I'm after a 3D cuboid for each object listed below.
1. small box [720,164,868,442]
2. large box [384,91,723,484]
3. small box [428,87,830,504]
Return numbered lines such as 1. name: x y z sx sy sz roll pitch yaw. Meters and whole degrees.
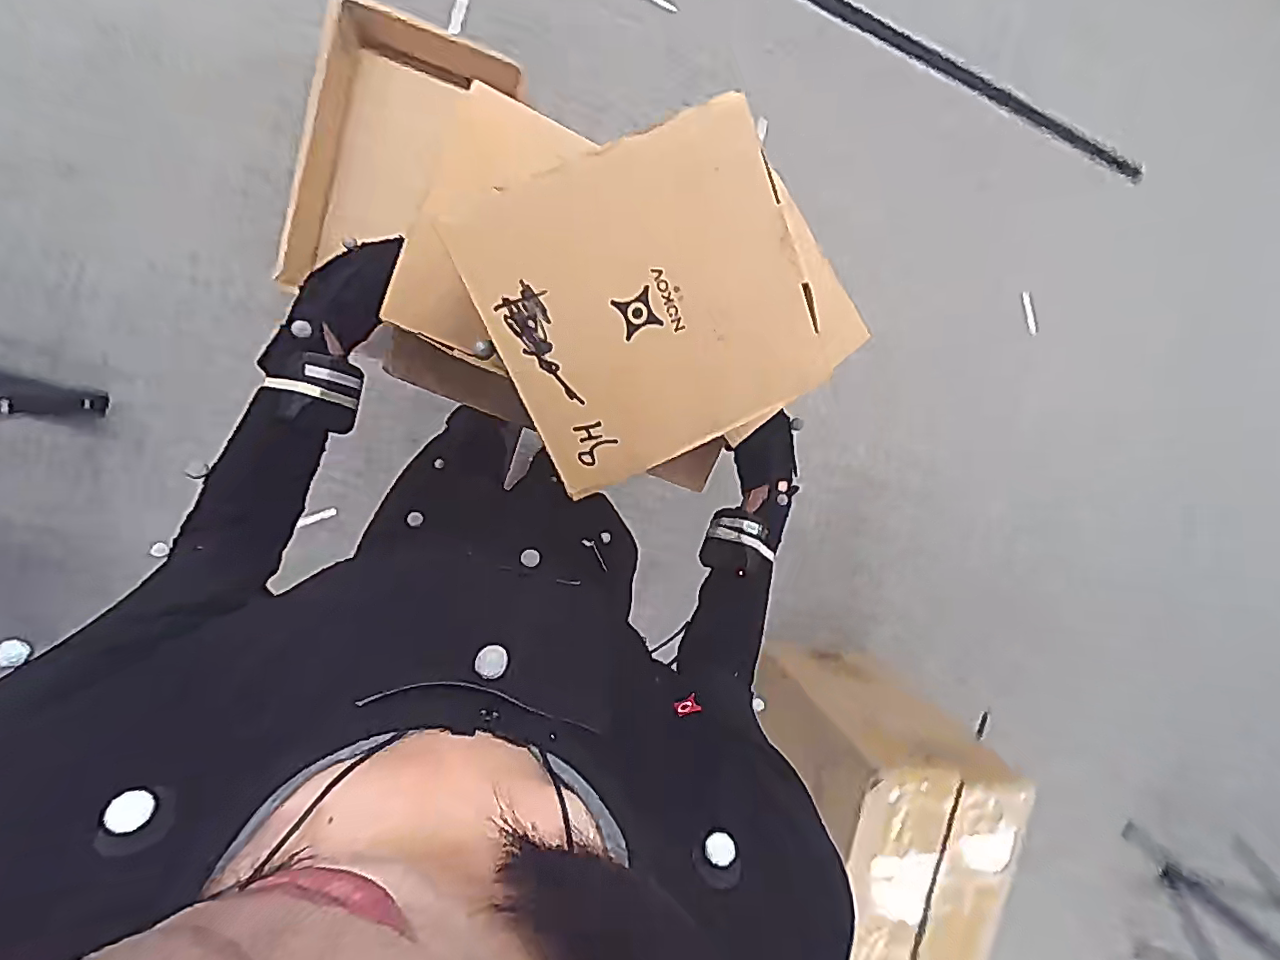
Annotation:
1. small box: 0.079 -0.163 0.540 0.168 0.176 0.179 -39 108 1
2. large box: -0.075 -0.228 0.752 0.408 0.320 0.320 19 101 -15
3. small box: -0.010 -0.112 0.366 0.179 0.176 0.168 -26 106 -2
